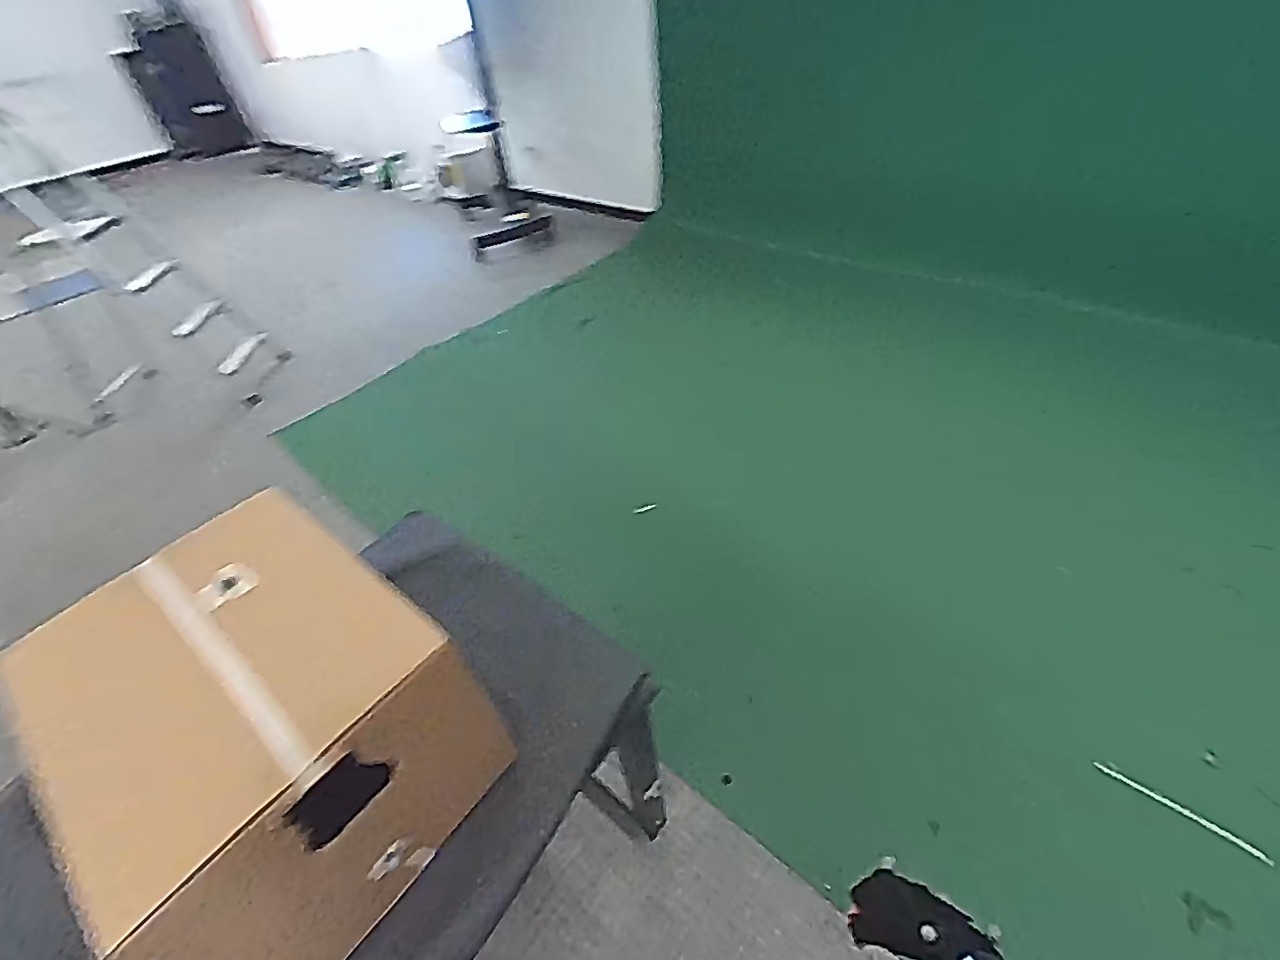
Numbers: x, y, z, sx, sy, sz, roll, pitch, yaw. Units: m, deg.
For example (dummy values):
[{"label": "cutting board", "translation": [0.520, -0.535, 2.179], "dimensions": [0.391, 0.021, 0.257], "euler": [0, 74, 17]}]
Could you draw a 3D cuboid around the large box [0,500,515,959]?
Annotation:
[{"label": "large box", "translation": [-0.430, 0.293, 0.667], "dimensions": [0.408, 0.320, 0.320], "euler": [24, 52, 30]}]
